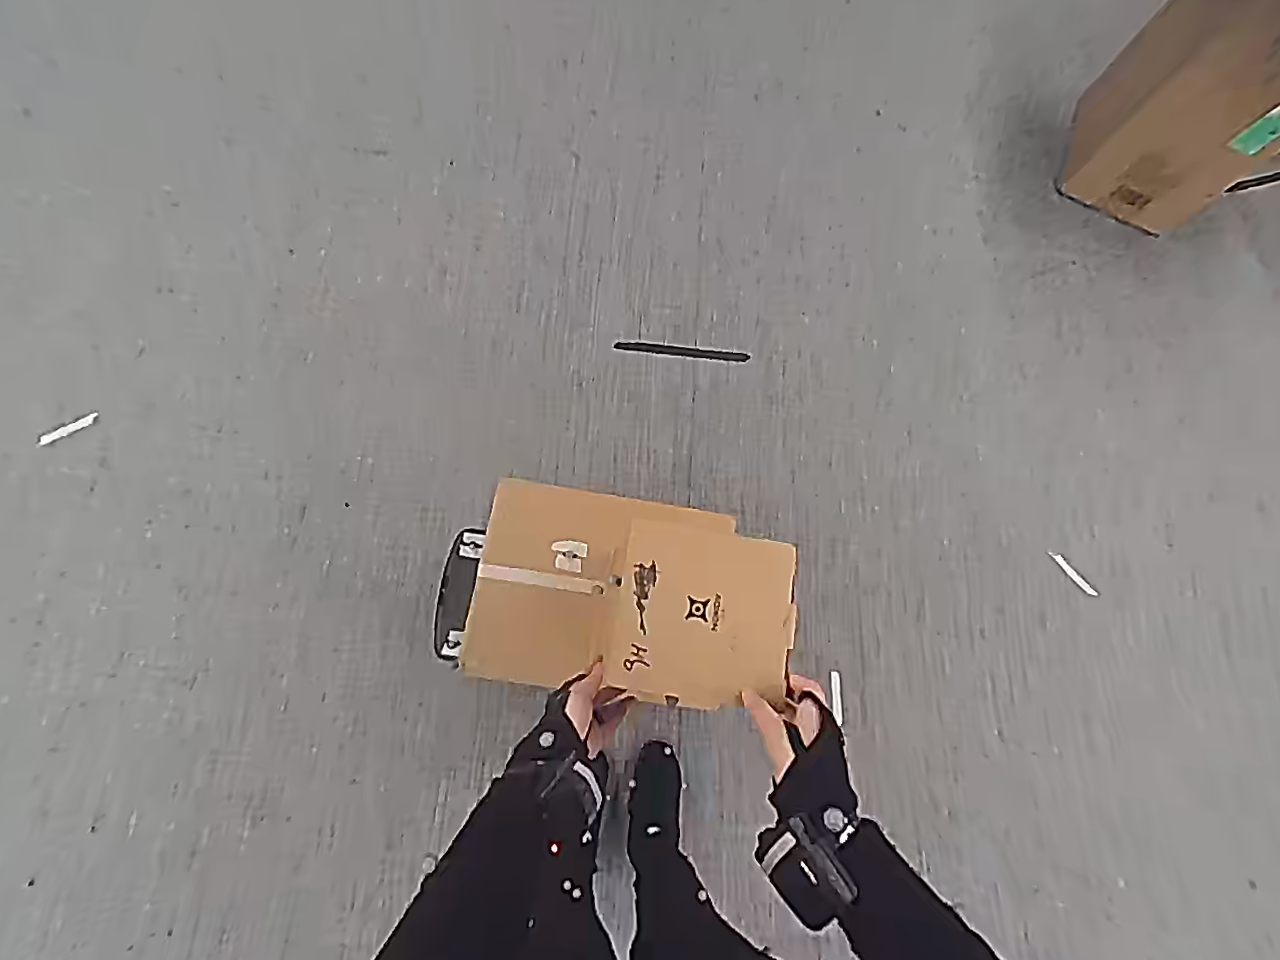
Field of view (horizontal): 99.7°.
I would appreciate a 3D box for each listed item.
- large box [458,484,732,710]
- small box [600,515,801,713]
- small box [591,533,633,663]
[{"bbox_3d":[-0.068,0.220,0.995,0.408,0.320,0.320,9,71,-3],"label":"large box"},{"bbox_3d":[0.058,0.149,0.601,0.179,0.176,0.168,11,72,-4],"label":"small box"},{"bbox_3d":[0.033,0.185,0.760,0.179,0.176,0.168,12,72,-2],"label":"small box"}]
